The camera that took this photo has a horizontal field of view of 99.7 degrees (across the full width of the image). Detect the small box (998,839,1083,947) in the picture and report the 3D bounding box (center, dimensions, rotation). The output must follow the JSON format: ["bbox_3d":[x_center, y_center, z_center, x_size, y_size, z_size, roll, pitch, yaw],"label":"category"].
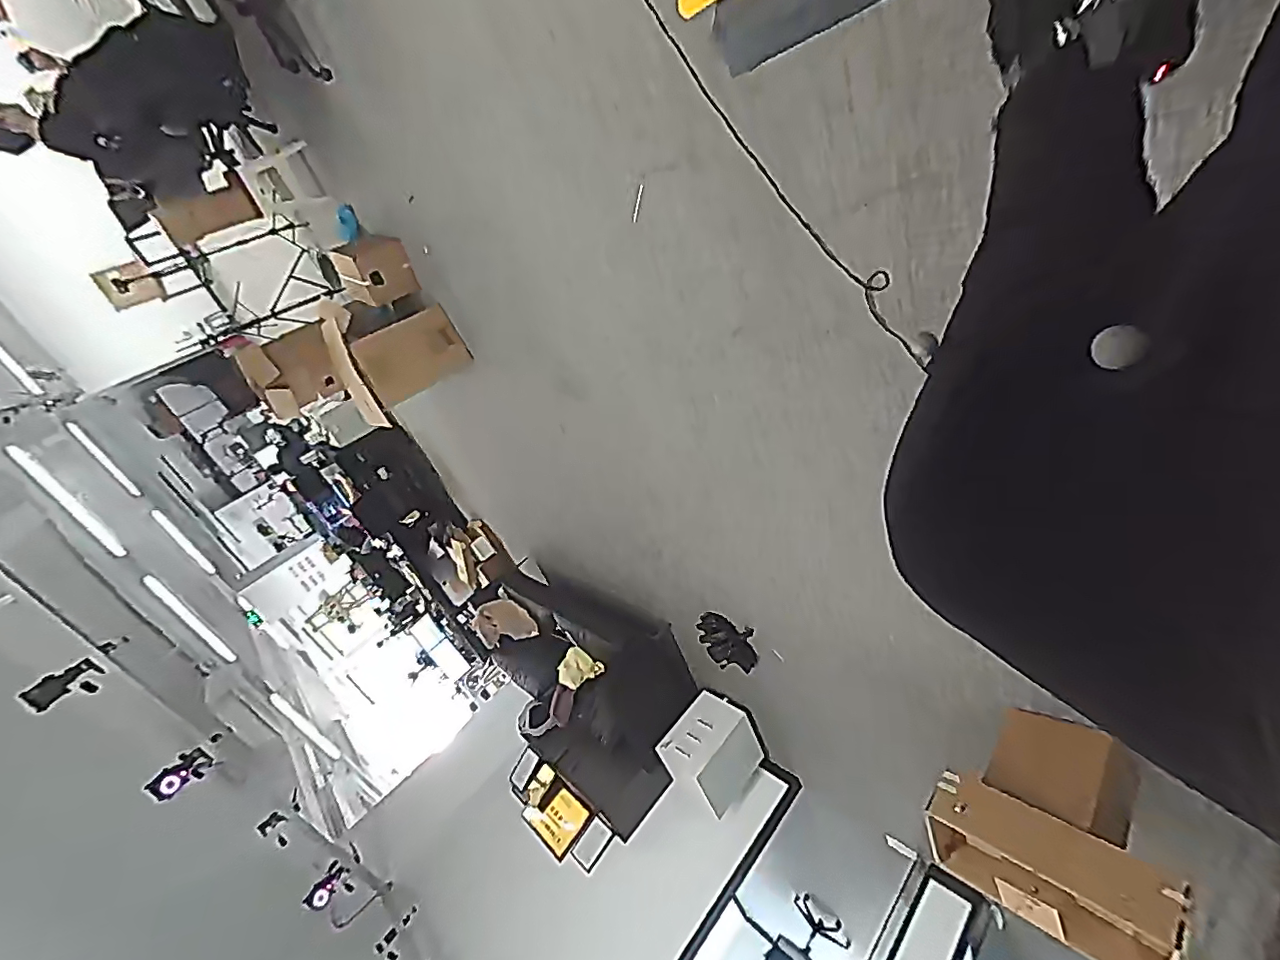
[{"bbox_3d":[1.247,1.273,1.678,0.168,0.176,0.179,2,127,52],"label":"small box"}]
